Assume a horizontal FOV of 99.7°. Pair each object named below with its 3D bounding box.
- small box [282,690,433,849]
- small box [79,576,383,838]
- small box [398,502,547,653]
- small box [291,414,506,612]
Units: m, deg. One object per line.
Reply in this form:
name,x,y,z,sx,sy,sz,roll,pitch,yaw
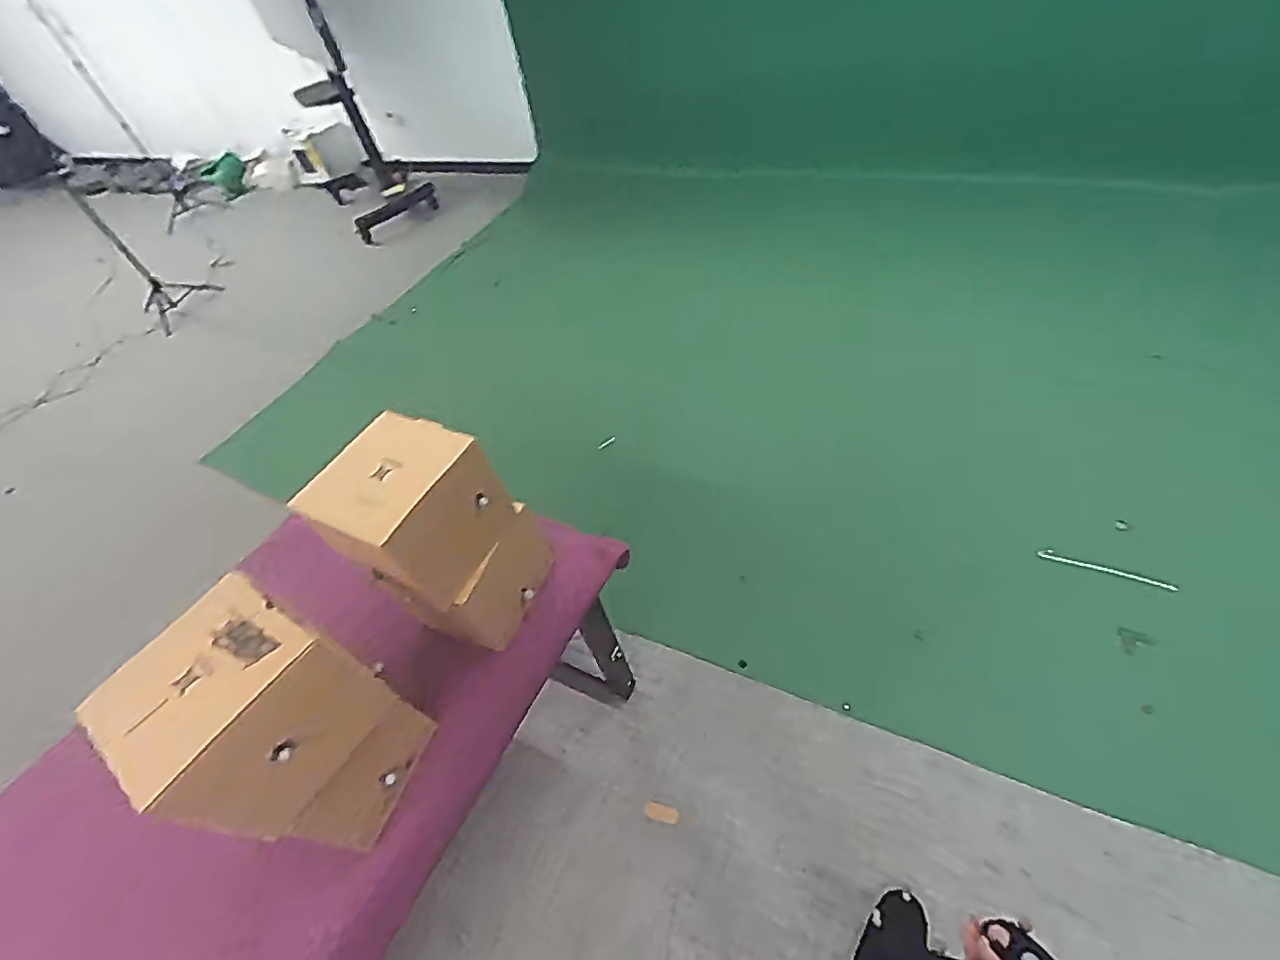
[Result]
small box,-0.412,0.354,0.703,0.179,0.176,0.168,9,53,19
small box,-0.411,0.242,0.579,0.168,0.176,0.179,22,59,28
small box,-0.265,0.141,0.851,0.168,0.176,0.179,12,54,21
small box,-0.302,0.044,0.724,0.168,0.176,0.179,17,56,24
